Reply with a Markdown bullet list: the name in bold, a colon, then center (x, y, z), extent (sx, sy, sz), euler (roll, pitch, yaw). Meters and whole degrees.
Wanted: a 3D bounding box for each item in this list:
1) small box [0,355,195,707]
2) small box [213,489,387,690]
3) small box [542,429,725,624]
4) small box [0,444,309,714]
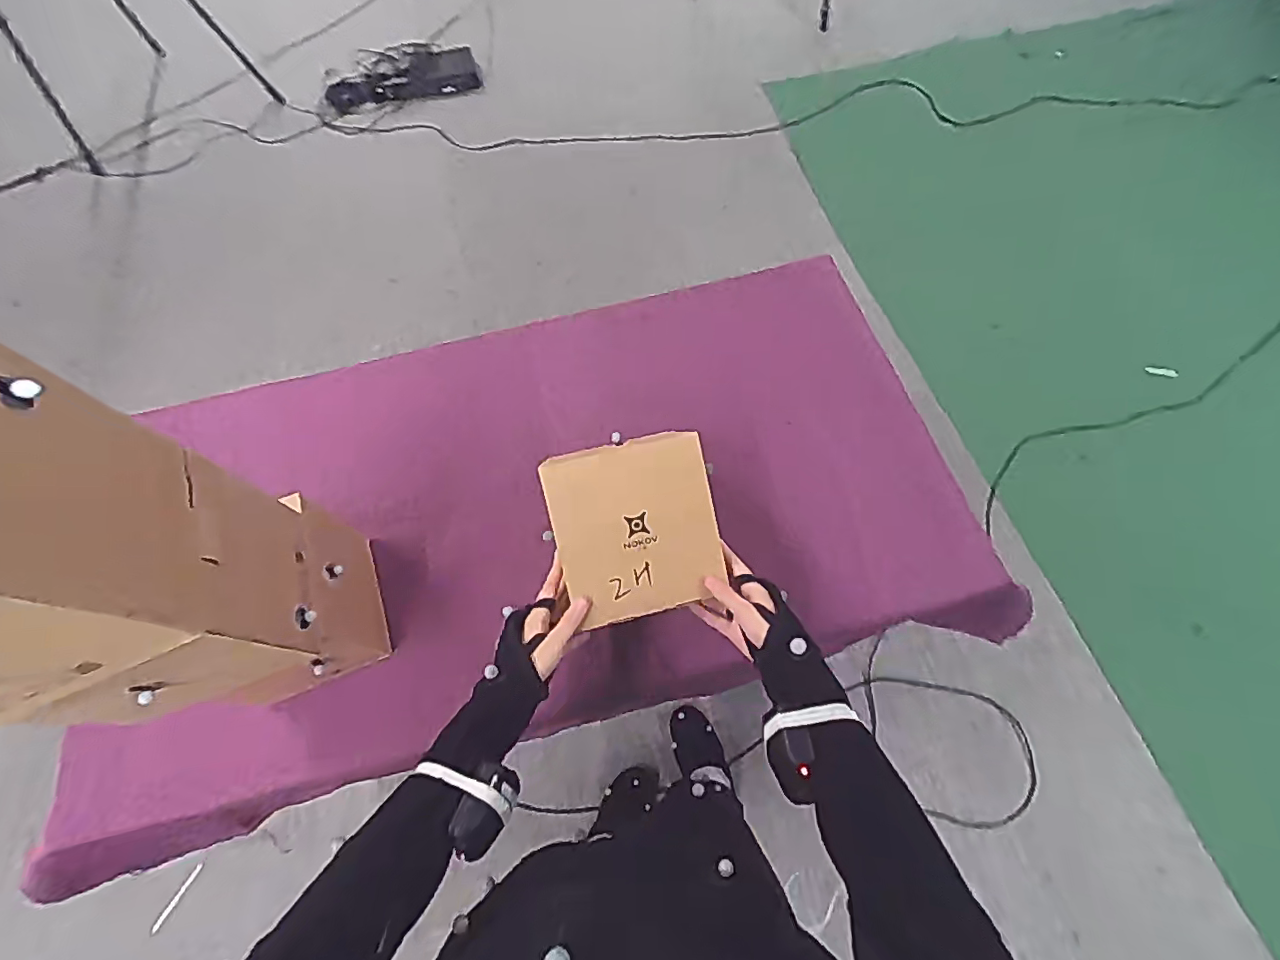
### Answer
- **small box**: center (-0.428, 0.039, 0.342), extent (0.168, 0.176, 0.179), euler (-24, 66, -8)
- **small box**: center (-0.430, 0.142, 0.653), extent (0.168, 0.176, 0.179), euler (-20, 66, -7)
- **small box**: center (-0.014, 0.040, 0.623), extent (0.168, 0.176, 0.179), euler (-11, 98, -5)
- **small box**: center (-0.433, 0.098, 0.493), extent (0.179, 0.176, 0.168), euler (-21, 67, -6)
